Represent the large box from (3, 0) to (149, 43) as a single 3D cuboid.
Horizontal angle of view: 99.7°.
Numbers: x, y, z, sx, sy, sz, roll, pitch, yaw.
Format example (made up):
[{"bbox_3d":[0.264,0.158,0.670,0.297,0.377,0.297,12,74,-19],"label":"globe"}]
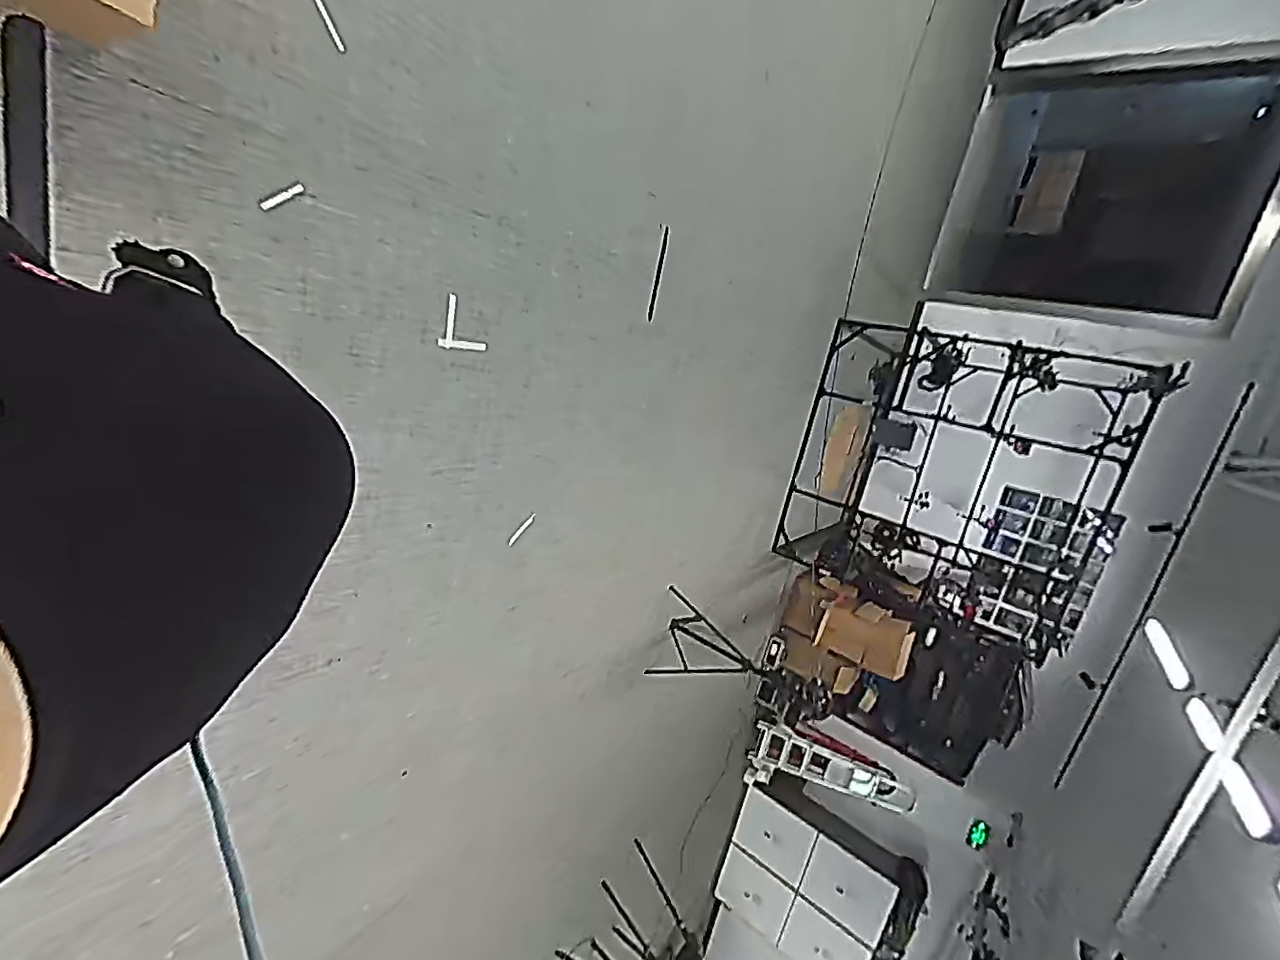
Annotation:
[{"bbox_3d":[-0.919,-0.867,0.695,0.408,0.320,0.320,3,106,-55],"label":"large box"}]
